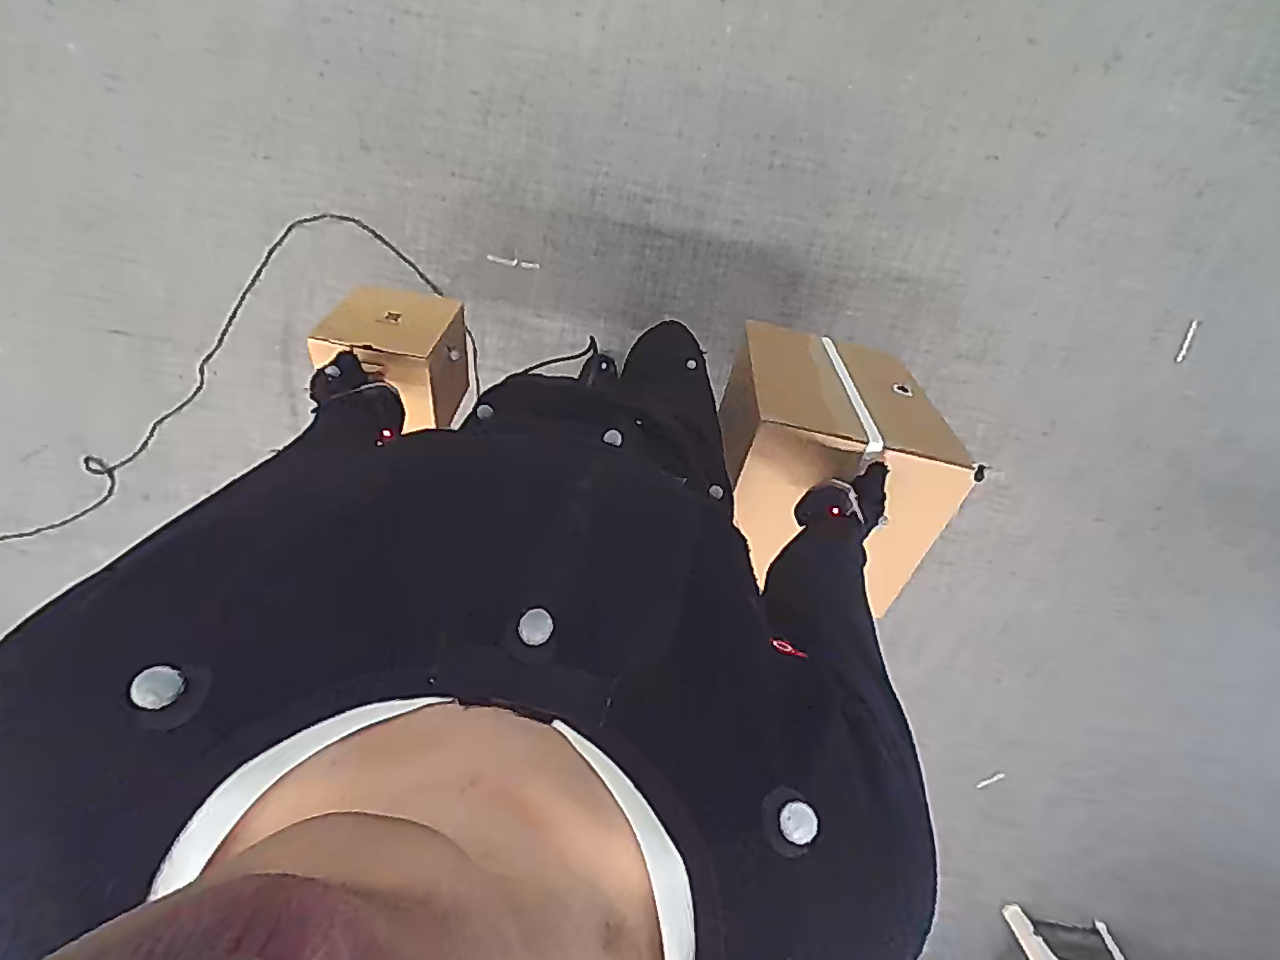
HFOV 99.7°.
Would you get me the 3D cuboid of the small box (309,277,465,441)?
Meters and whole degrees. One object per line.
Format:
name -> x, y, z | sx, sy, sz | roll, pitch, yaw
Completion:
small box -> -0.382, -0.190, 0.856 | 0.168, 0.179, 0.176 | 9, 137, -5
